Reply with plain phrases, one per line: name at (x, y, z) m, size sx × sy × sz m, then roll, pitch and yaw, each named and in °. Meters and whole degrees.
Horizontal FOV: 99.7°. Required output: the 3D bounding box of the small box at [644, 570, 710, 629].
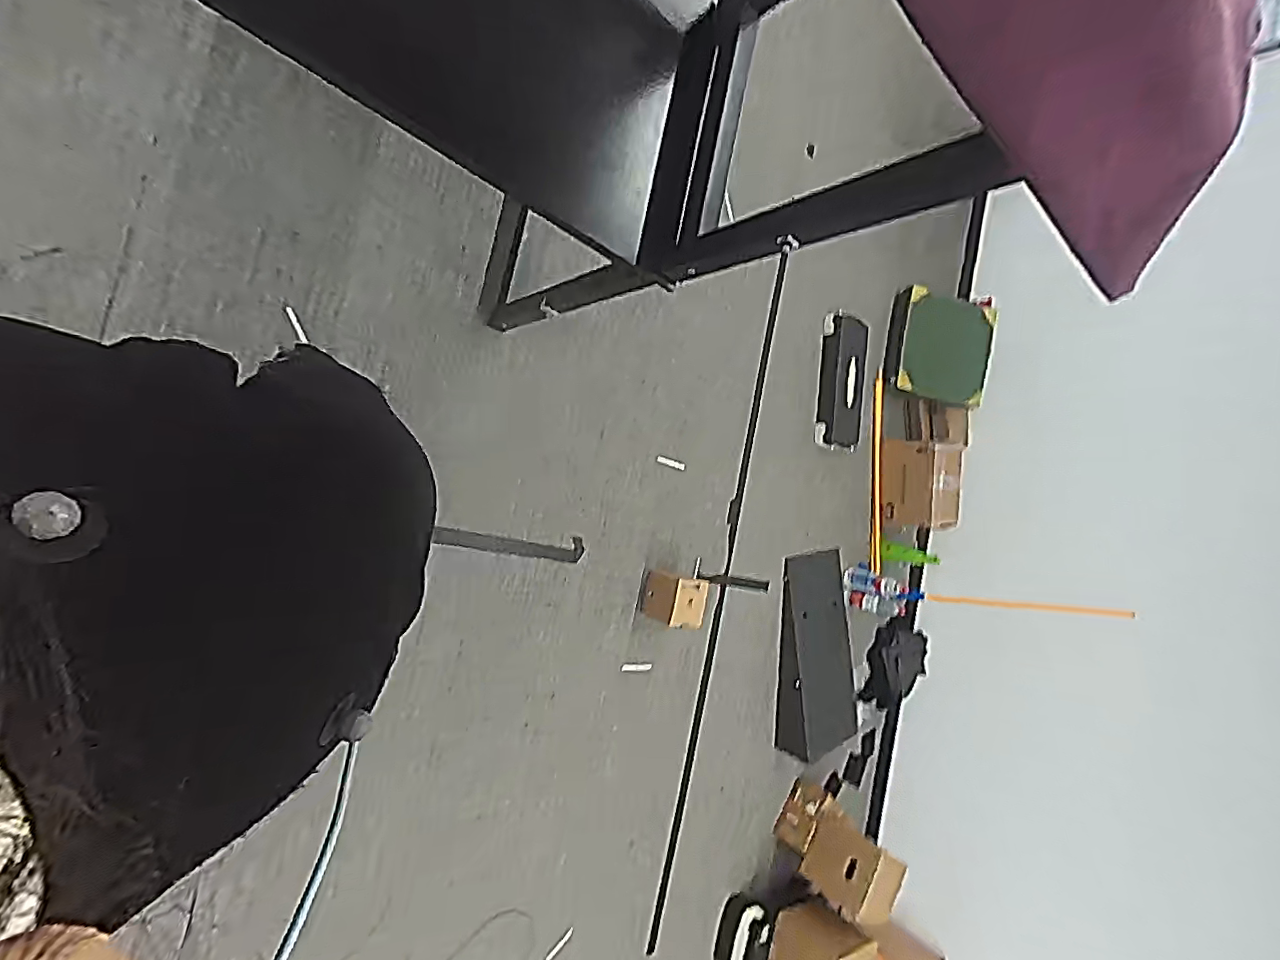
small box at (0.136, 0.452, 2.056) m, size 0.168 × 0.176 × 0.179 m, roll 15°, pitch 86°, yaw -40°
